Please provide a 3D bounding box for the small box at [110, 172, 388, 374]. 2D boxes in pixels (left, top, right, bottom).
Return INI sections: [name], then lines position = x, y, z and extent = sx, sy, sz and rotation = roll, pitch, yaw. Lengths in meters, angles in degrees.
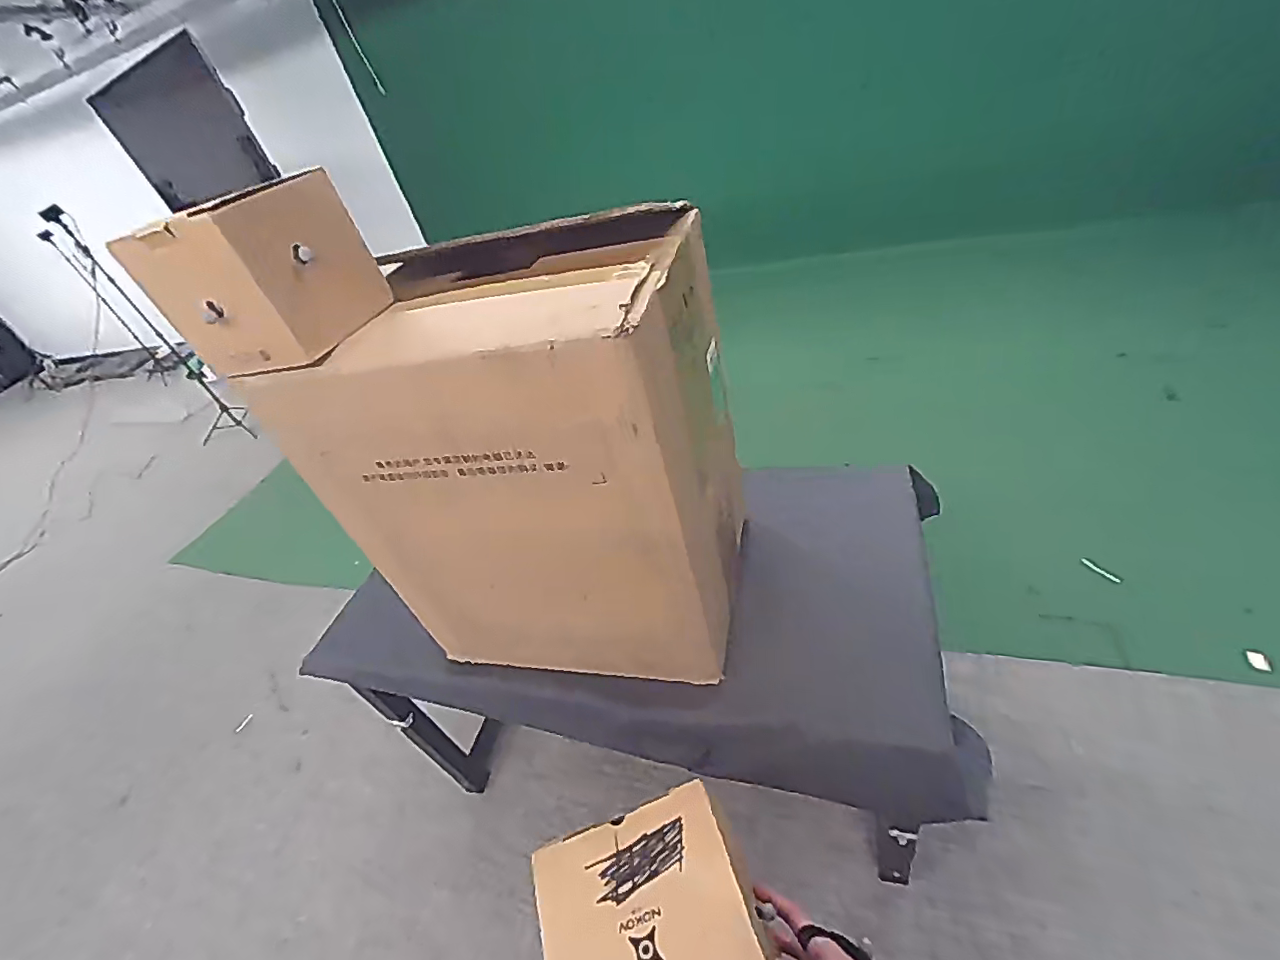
[small box]
position = -0.447, -0.239, 0.653
extent = 0.168, 0.176, 0.179
rotation = -2, 41, 20
